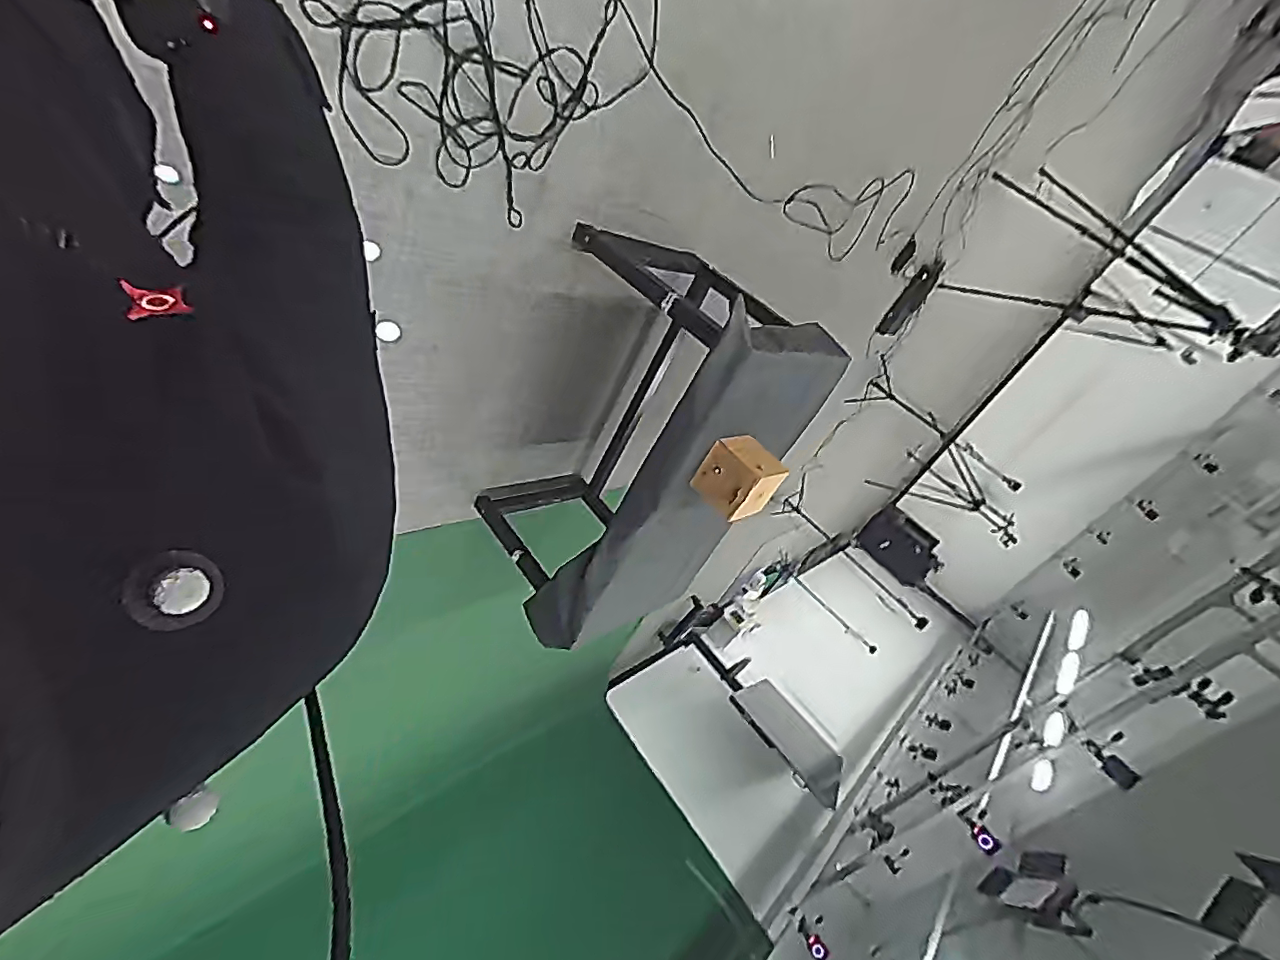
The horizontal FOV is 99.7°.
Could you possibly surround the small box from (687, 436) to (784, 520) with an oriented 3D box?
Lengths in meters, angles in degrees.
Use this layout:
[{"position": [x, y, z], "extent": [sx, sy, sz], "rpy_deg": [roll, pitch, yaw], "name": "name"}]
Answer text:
[{"position": [0.271, -0.012, 1.549], "extent": [0.179, 0.176, 0.168], "rpy_deg": [-11, 140, -48], "name": "small box"}]
